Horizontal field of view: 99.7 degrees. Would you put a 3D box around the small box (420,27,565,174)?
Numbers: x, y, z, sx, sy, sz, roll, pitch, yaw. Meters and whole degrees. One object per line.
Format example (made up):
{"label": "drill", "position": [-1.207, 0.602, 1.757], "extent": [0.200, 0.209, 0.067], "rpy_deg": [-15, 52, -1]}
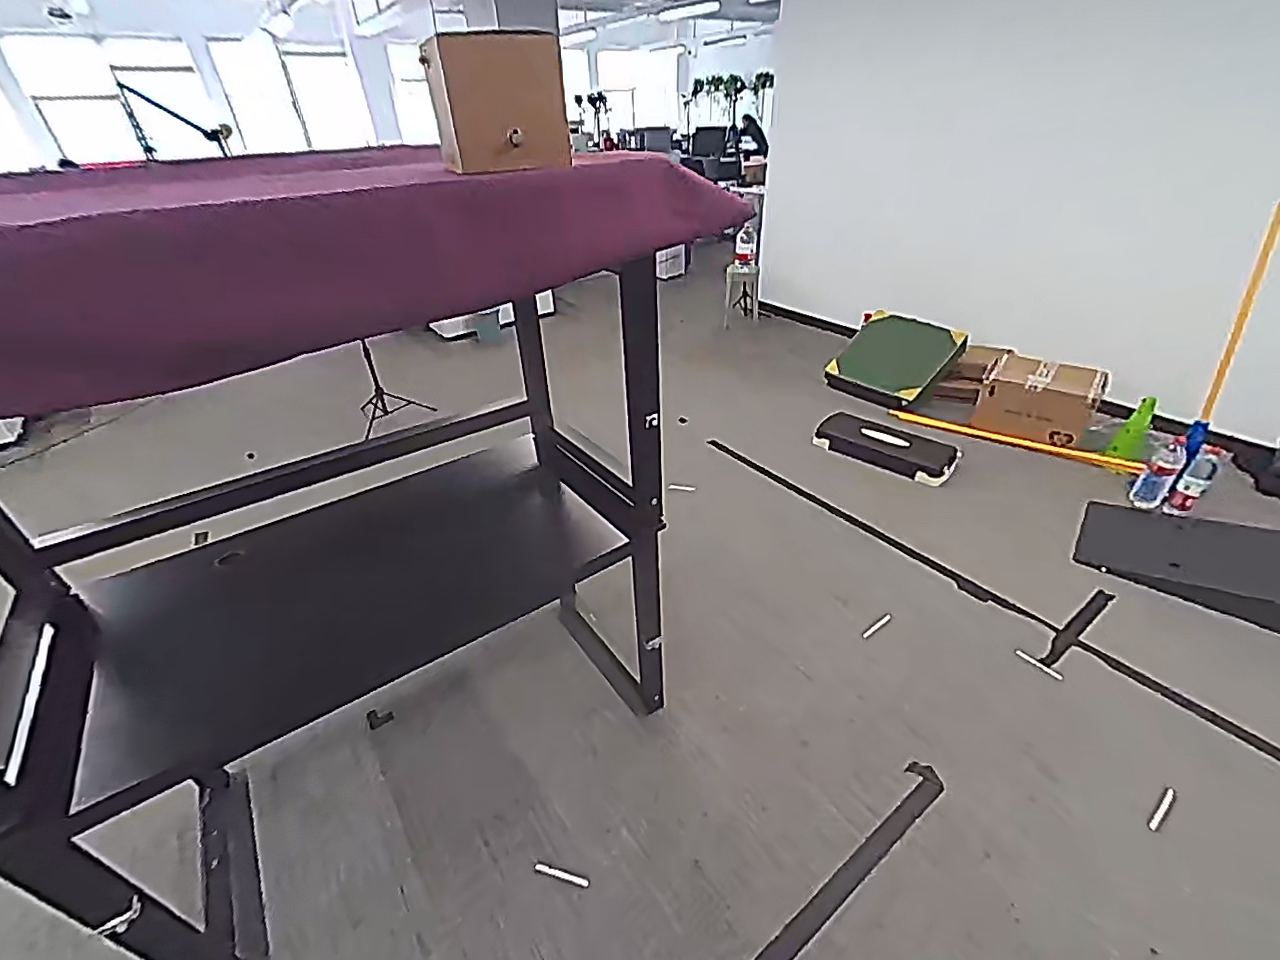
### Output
{"label": "small box", "position": [-0.223, -0.583, 0.840], "extent": [0.179, 0.176, 0.168], "rpy_deg": [-17, 36, -20]}
